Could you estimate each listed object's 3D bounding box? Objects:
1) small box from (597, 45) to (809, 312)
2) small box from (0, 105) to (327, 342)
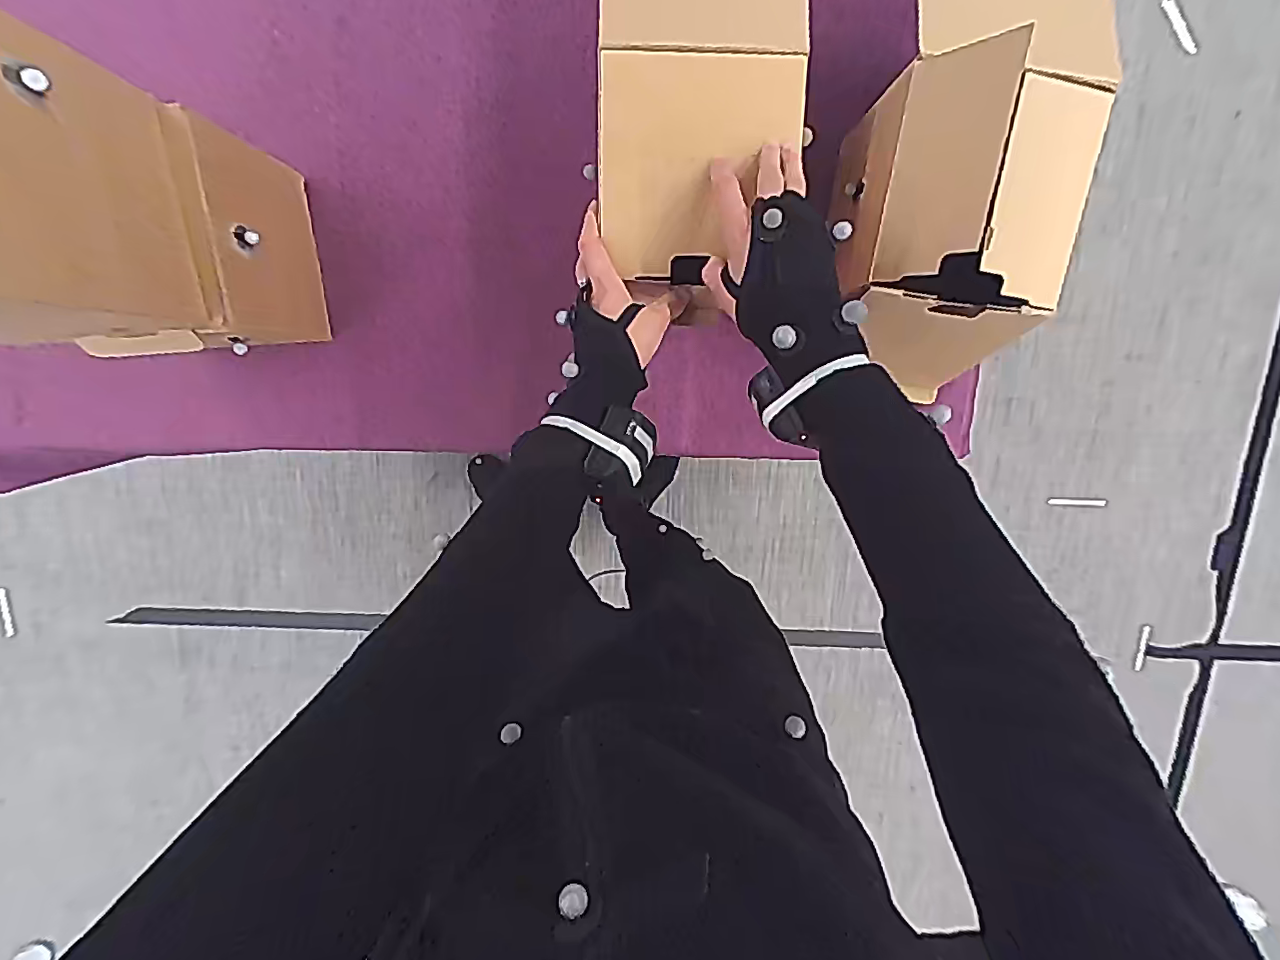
[{"bbox_3d":[0.048,-0.263,0.513,0.168,0.176,0.179,2,101,0],"label":"small box"},{"bbox_3d":[-0.434,-0.226,0.522,0.168,0.176,0.179,-3,102,-1],"label":"small box"}]
